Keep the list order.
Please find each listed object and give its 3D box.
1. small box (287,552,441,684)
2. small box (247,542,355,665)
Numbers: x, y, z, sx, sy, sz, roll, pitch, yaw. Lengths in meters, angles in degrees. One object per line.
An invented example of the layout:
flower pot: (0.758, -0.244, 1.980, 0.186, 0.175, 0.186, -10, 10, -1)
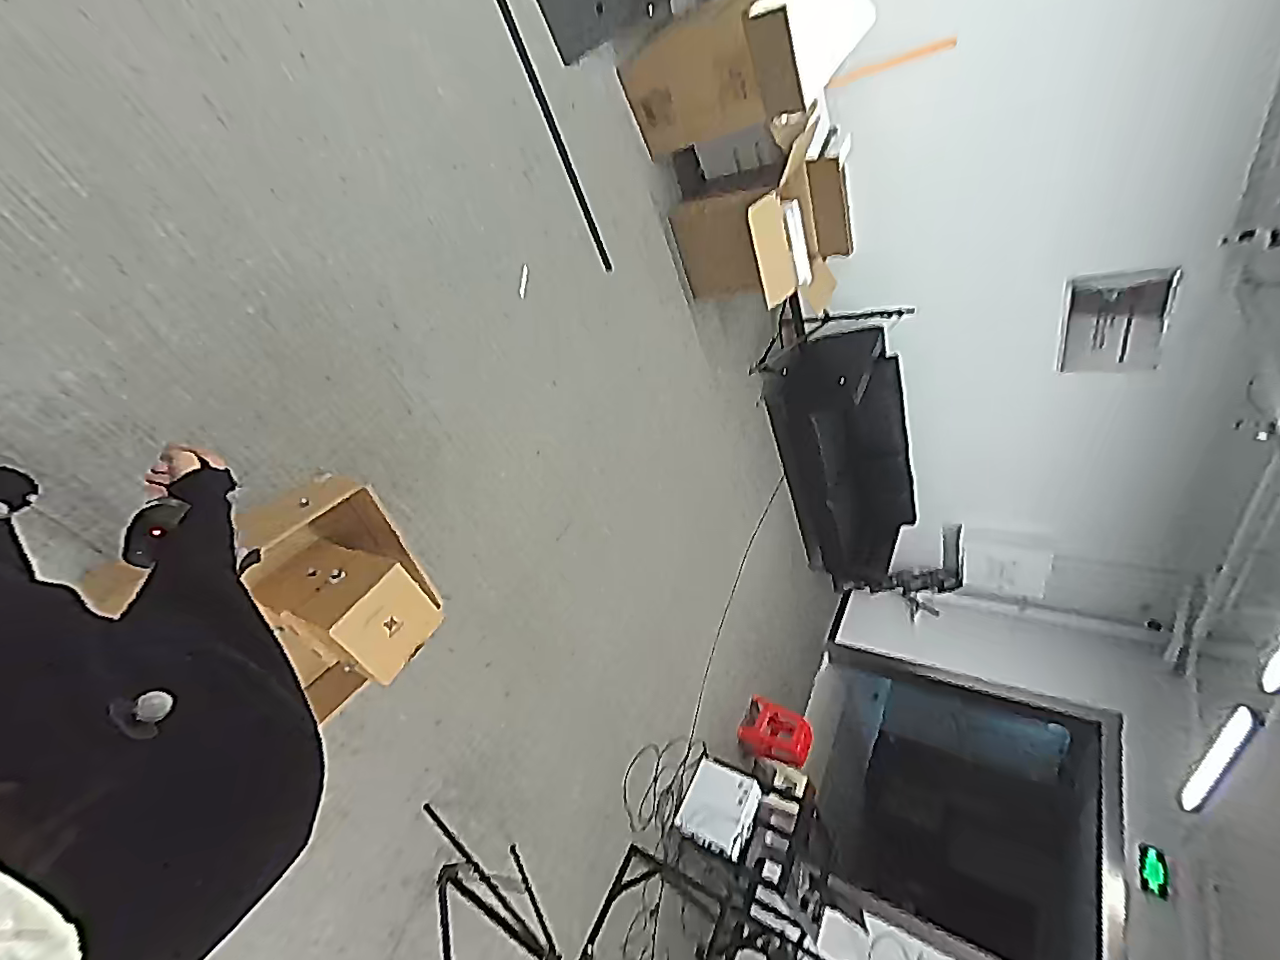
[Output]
small box: (-0.541, 0.264, 1.066, 0.168, 0.176, 0.179, -53, 136, -37)
small box: (-0.680, 0.253, 1.153, 0.179, 0.176, 0.168, -50, 133, -38)
